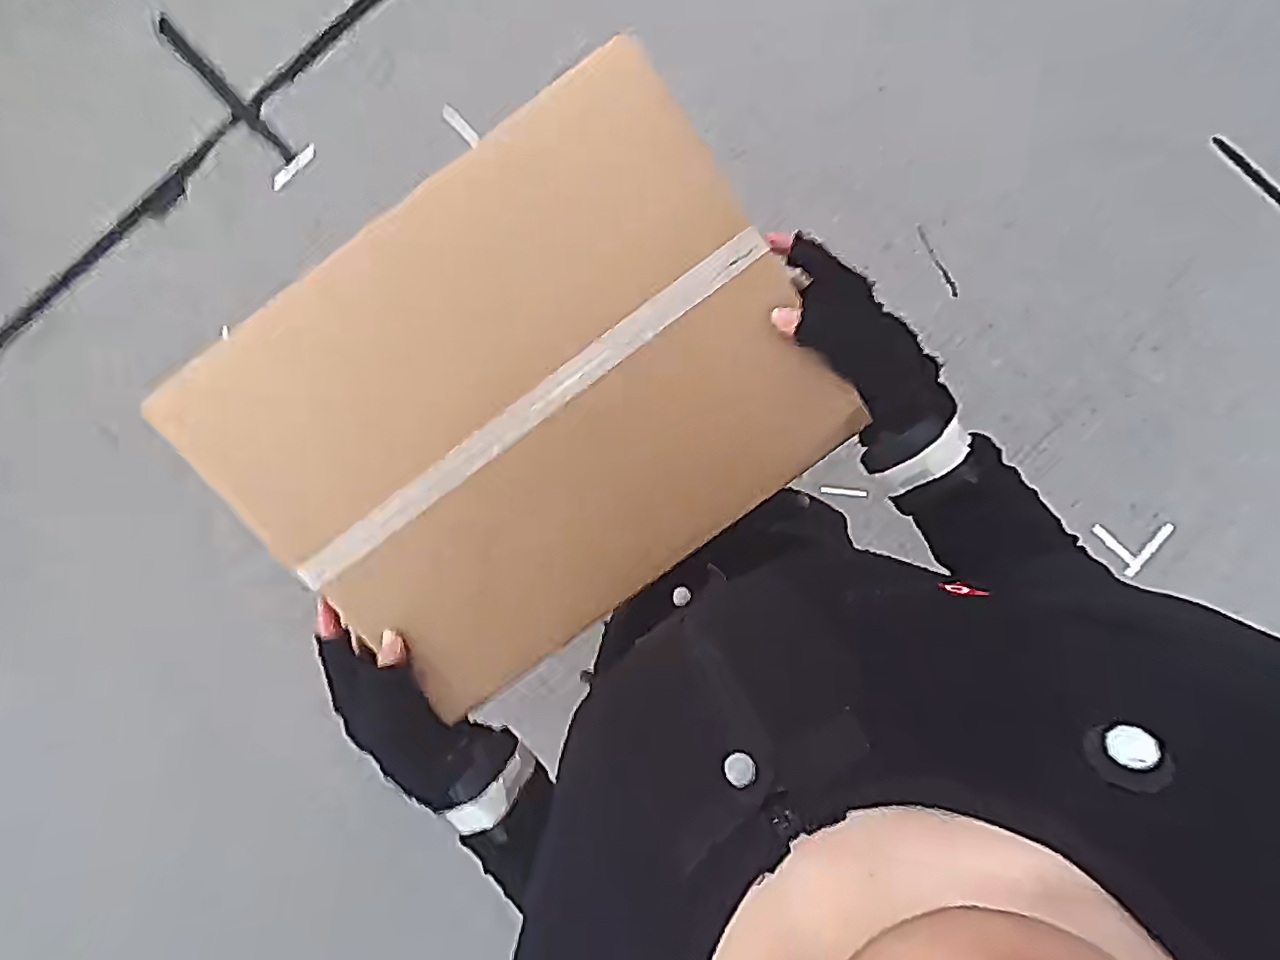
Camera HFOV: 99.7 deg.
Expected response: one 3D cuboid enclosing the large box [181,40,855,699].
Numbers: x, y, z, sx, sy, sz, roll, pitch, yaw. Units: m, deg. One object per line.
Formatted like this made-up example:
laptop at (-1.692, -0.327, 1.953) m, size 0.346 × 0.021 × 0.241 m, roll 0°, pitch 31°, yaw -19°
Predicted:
large box at (-0.091, -0.084, 0.541) m, size 0.408 × 0.320 × 0.320 m, roll -36°, pitch 103°, yaw 2°
